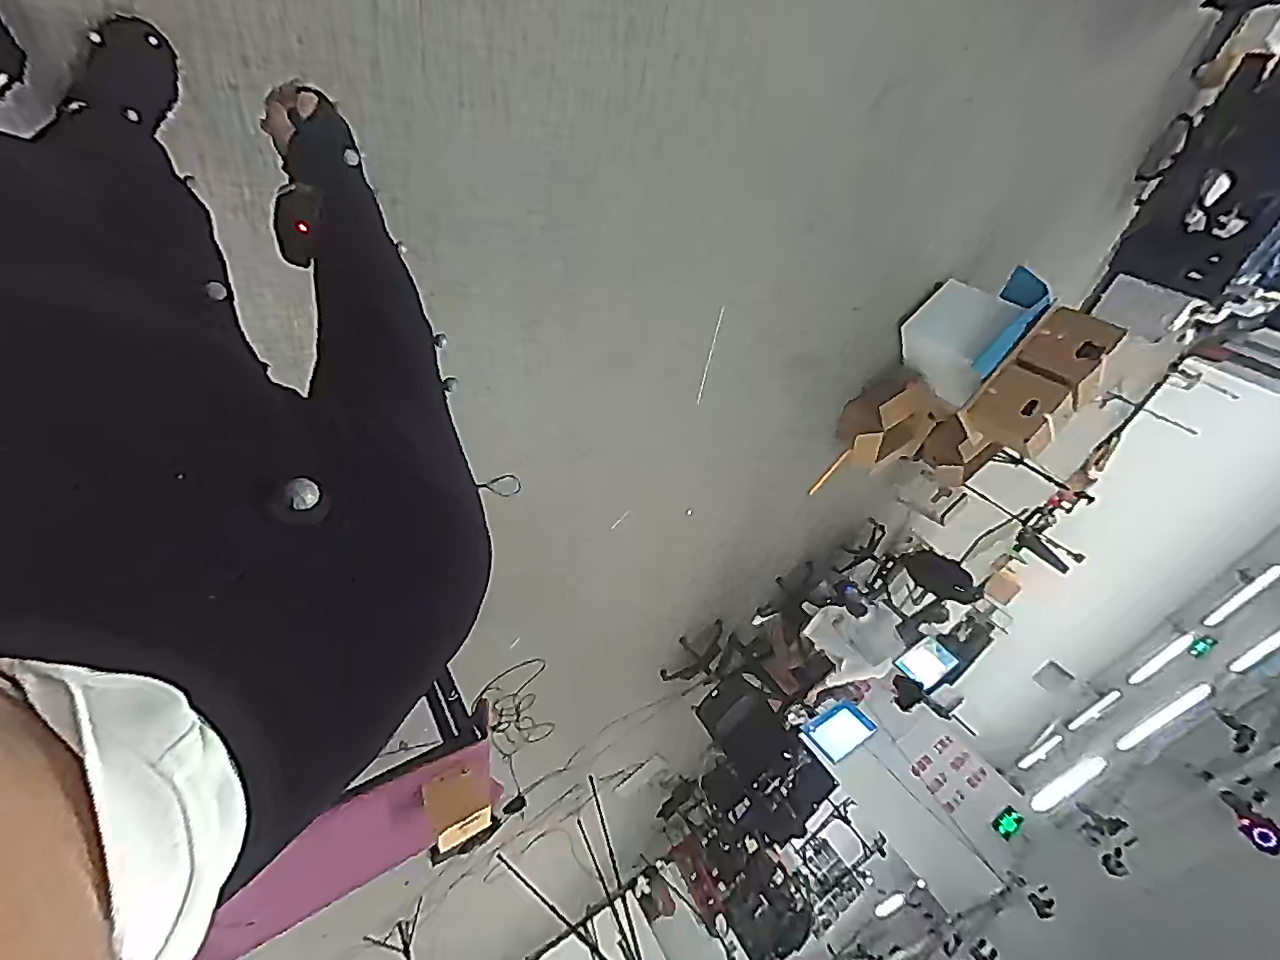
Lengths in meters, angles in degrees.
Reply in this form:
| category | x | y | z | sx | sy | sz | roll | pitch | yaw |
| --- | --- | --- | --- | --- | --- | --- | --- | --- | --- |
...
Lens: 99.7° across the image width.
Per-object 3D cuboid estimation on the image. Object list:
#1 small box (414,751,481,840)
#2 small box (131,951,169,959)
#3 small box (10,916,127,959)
| category | x | y | z | sx | sy | sz | roll | pitch | yaw |
| --- | --- | --- | --- | --- | --- | --- | --- | --- | --- |
| small box | -0.631 | 1.021 | 1.765 | 0.168 | 0.176 | 0.179 | -14 | 138 | -31 |
| small box | -1.422 | 1.462 | 1.500 | 0.168 | 0.176 | 0.179 | -18 | 137 | -32 |
| small box | -1.354 | 1.189 | 1.283 | 0.168 | 0.176 | 0.179 | -15 | 136 | -33 |
